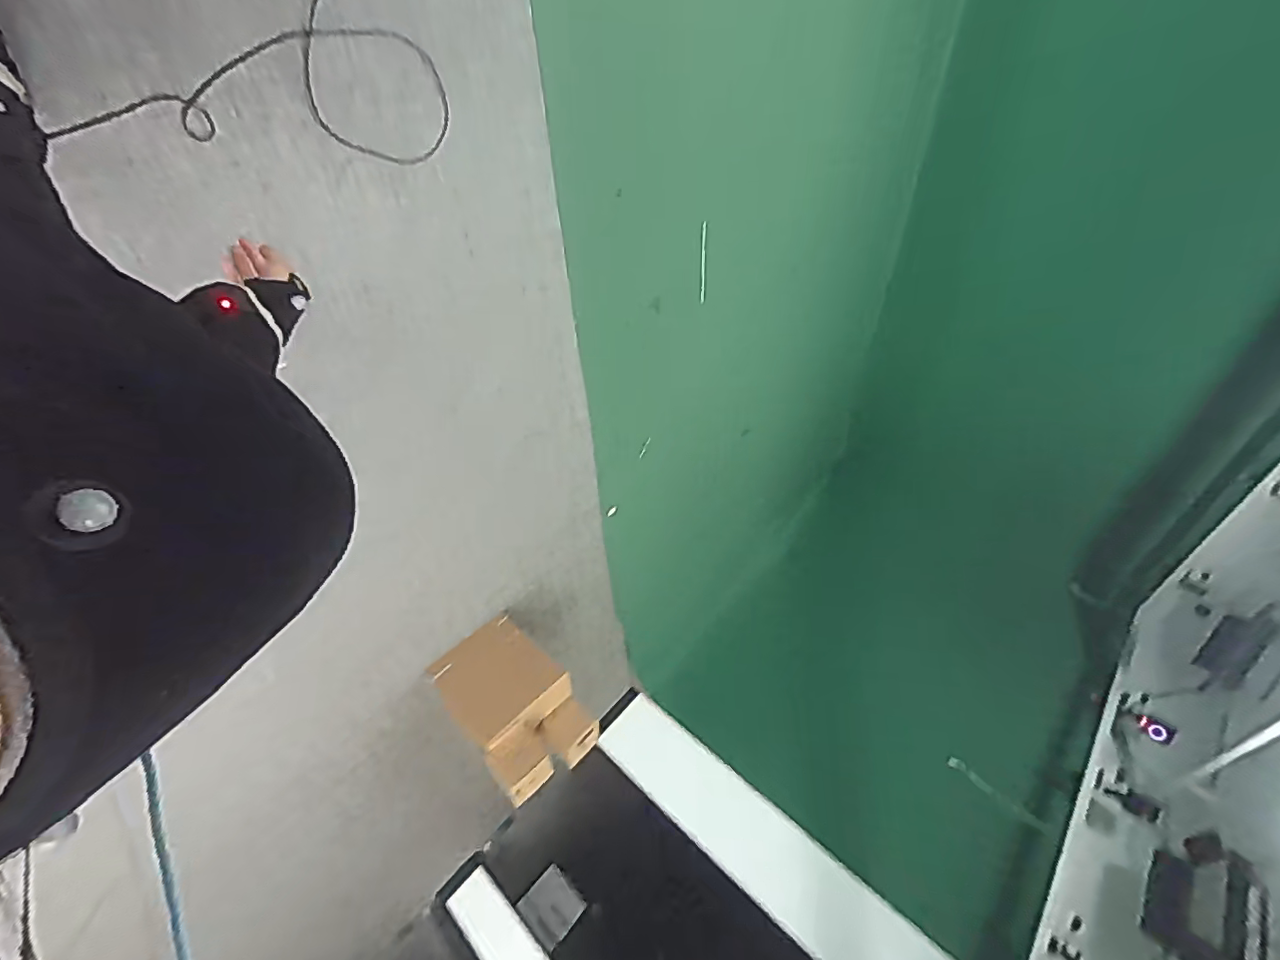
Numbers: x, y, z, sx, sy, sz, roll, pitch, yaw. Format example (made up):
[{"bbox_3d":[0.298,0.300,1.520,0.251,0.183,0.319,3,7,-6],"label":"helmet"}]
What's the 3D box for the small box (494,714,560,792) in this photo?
[{"bbox_3d":[-0.439,1.053,2.097,0.179,0.176,0.168,-35,139,-33],"label":"small box"}]
